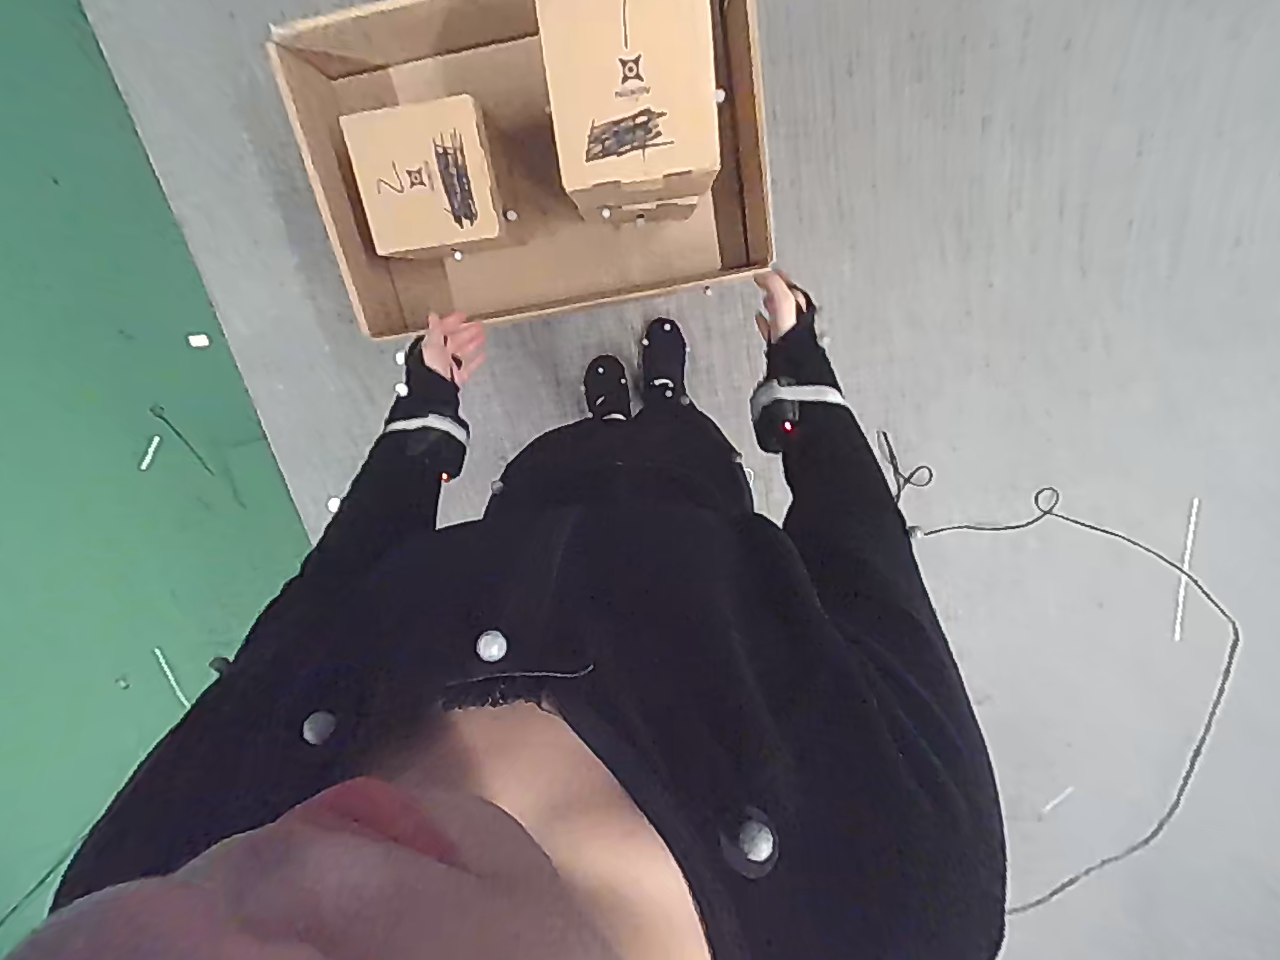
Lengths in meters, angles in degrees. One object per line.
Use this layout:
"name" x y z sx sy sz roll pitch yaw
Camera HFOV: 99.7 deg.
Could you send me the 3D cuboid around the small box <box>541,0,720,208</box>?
"small box" -0.003 -0.415 0.608 0.168 0.176 0.179 -6 109 3
